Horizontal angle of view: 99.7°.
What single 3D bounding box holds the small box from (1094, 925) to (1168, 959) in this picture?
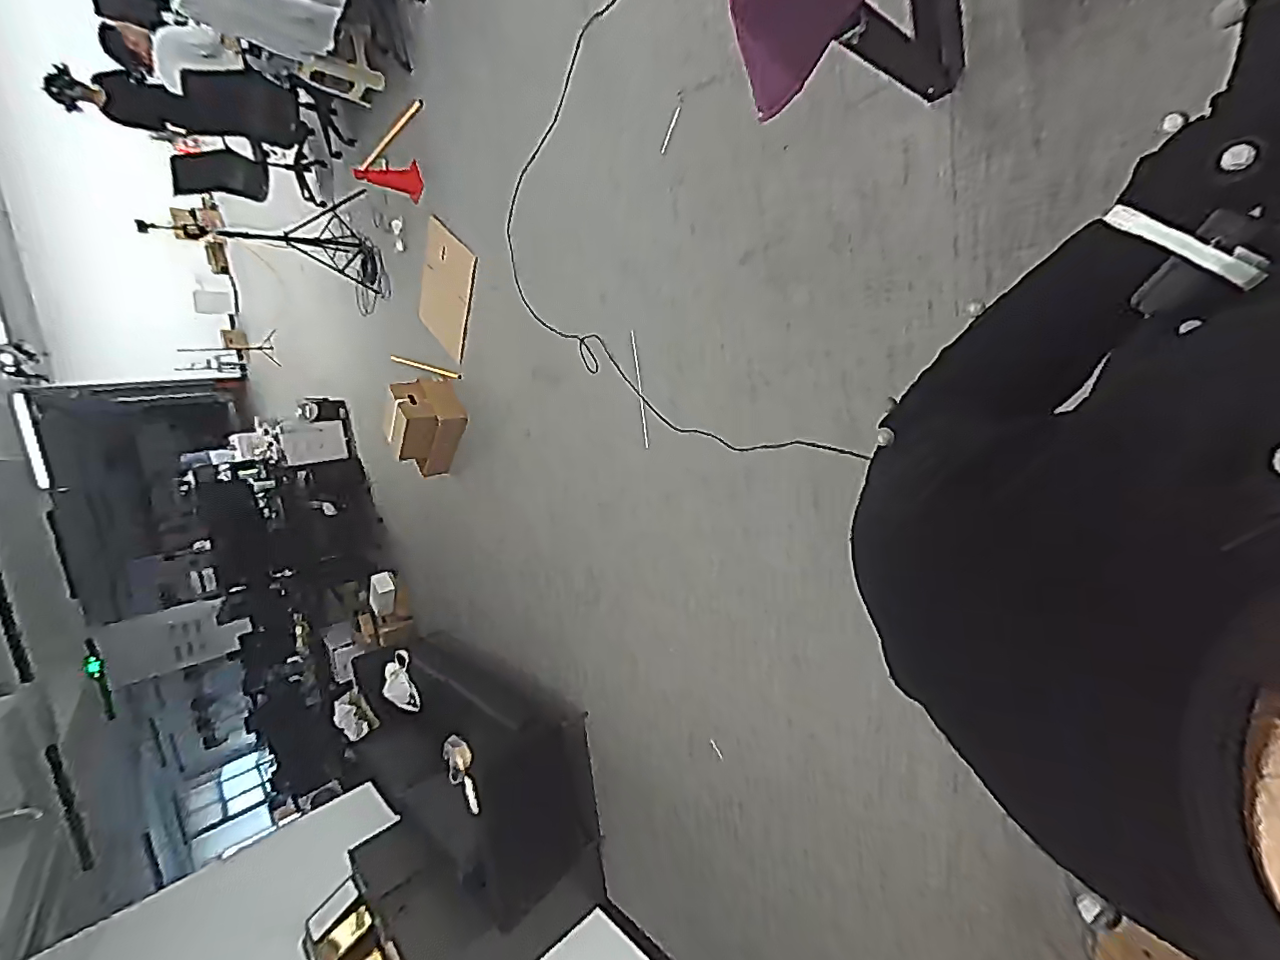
[{"bbox_3d":[0.922,0.981,0.982,0.168,0.176,0.179,15,114,47],"label":"small box"}]
